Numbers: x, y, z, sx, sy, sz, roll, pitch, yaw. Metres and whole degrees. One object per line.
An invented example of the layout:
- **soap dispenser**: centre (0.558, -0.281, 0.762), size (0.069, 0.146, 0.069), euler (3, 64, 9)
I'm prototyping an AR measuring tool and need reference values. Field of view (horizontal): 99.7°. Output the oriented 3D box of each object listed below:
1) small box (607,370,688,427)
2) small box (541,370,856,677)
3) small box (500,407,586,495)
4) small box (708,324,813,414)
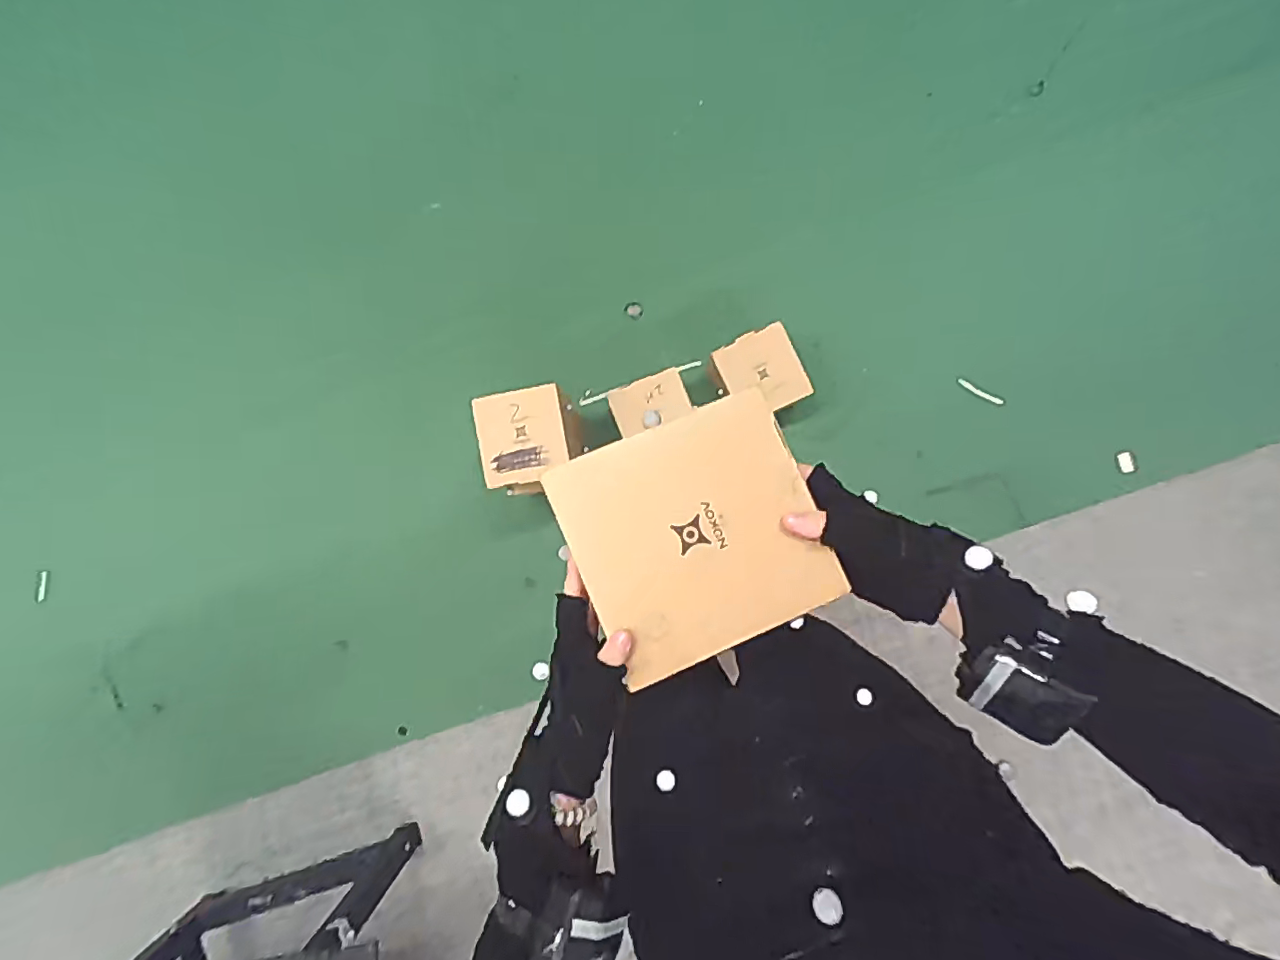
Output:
- **small box**: centre (0.036, -0.129, 1.244), size (0.168, 0.176, 0.179), euler (-21, 87, 0)
- **small box**: centre (0.037, 0.037, 0.453), size (0.179, 0.176, 0.168), euler (-24, 85, -6)
- **small box**: centre (-0.212, -0.061, 1.251), size (0.168, 0.176, 0.179), euler (-8, 89, 2)
- **small box**: centre (0.266, -0.223, 1.241), size (0.168, 0.176, 0.179), euler (-24, 88, 1)
